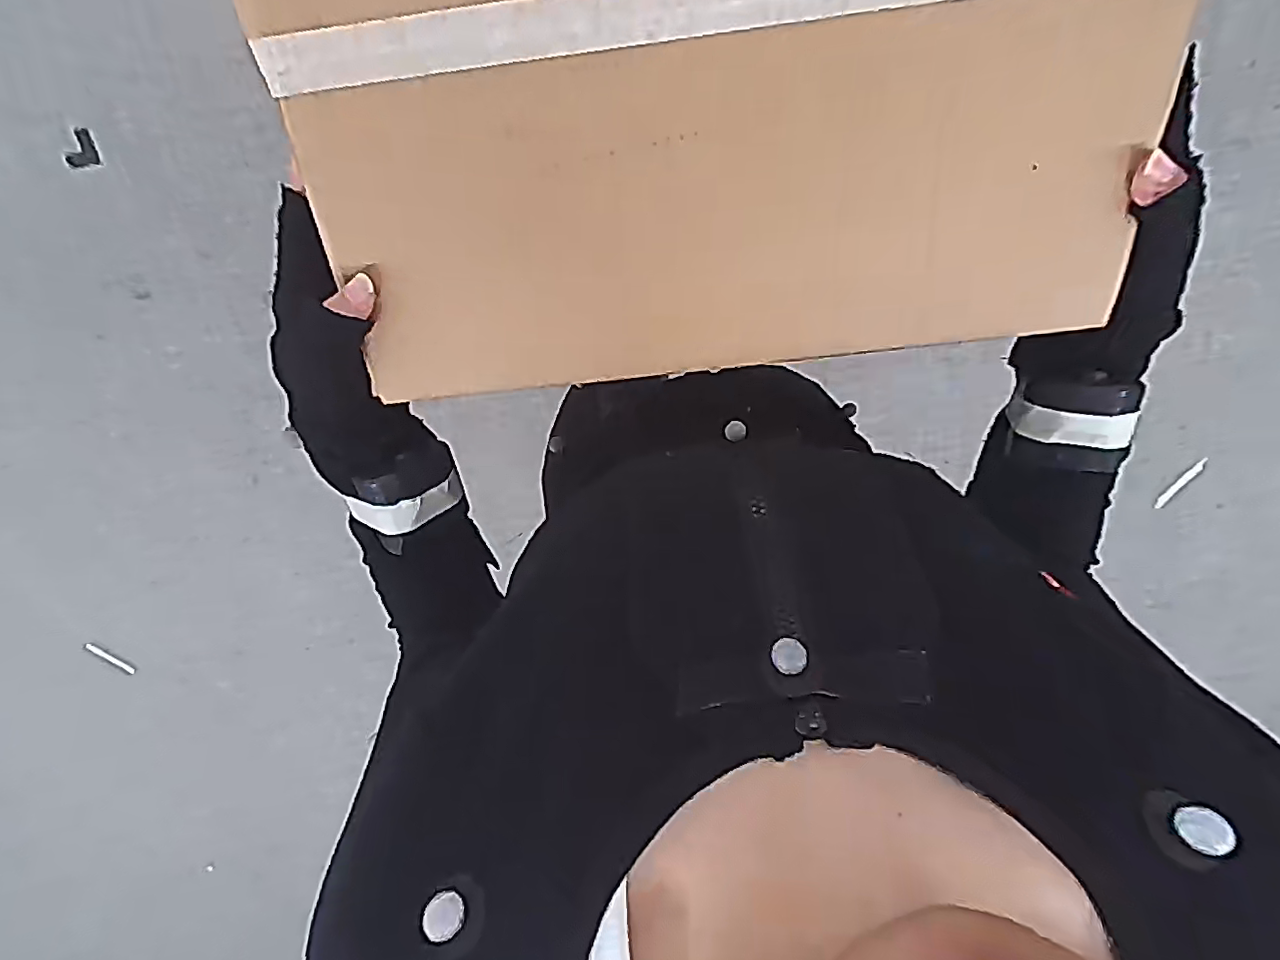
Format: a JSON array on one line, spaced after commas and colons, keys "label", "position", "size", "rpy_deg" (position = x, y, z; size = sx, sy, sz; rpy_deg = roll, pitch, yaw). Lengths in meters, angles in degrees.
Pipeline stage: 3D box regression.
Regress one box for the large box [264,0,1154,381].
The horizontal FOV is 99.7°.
[{"label": "large box", "position": [0.028, -0.281, 0.376], "size": [0.408, 0.320, 0.320], "rpy_deg": [-6, 117, 2]}]
